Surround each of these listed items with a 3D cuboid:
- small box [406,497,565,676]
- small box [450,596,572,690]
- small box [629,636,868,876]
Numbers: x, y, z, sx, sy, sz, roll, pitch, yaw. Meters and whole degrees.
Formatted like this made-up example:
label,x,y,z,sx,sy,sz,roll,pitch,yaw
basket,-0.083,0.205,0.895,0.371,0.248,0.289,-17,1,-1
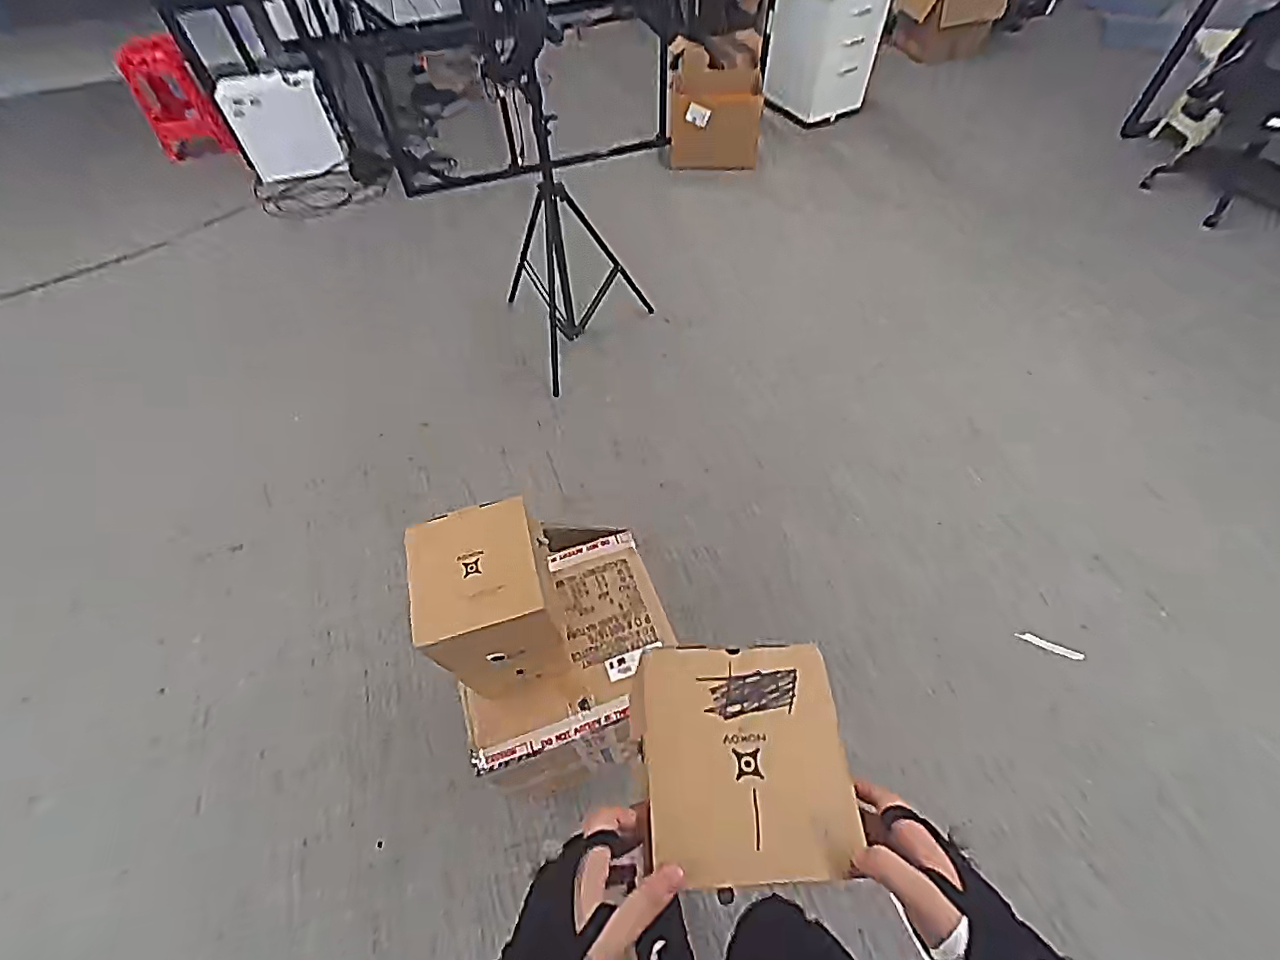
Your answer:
label,x,y,z,sx,sy,sz,roll,pitch,yaw
small box,-0.214,0.155,0.771,0.168,0.176,0.179,-17,59,-6
small box,-0.220,0.240,0.911,0.168,0.176,0.179,-16,59,-8
small box,0.079,0.260,0.506,0.168,0.176,0.179,1,56,-5
